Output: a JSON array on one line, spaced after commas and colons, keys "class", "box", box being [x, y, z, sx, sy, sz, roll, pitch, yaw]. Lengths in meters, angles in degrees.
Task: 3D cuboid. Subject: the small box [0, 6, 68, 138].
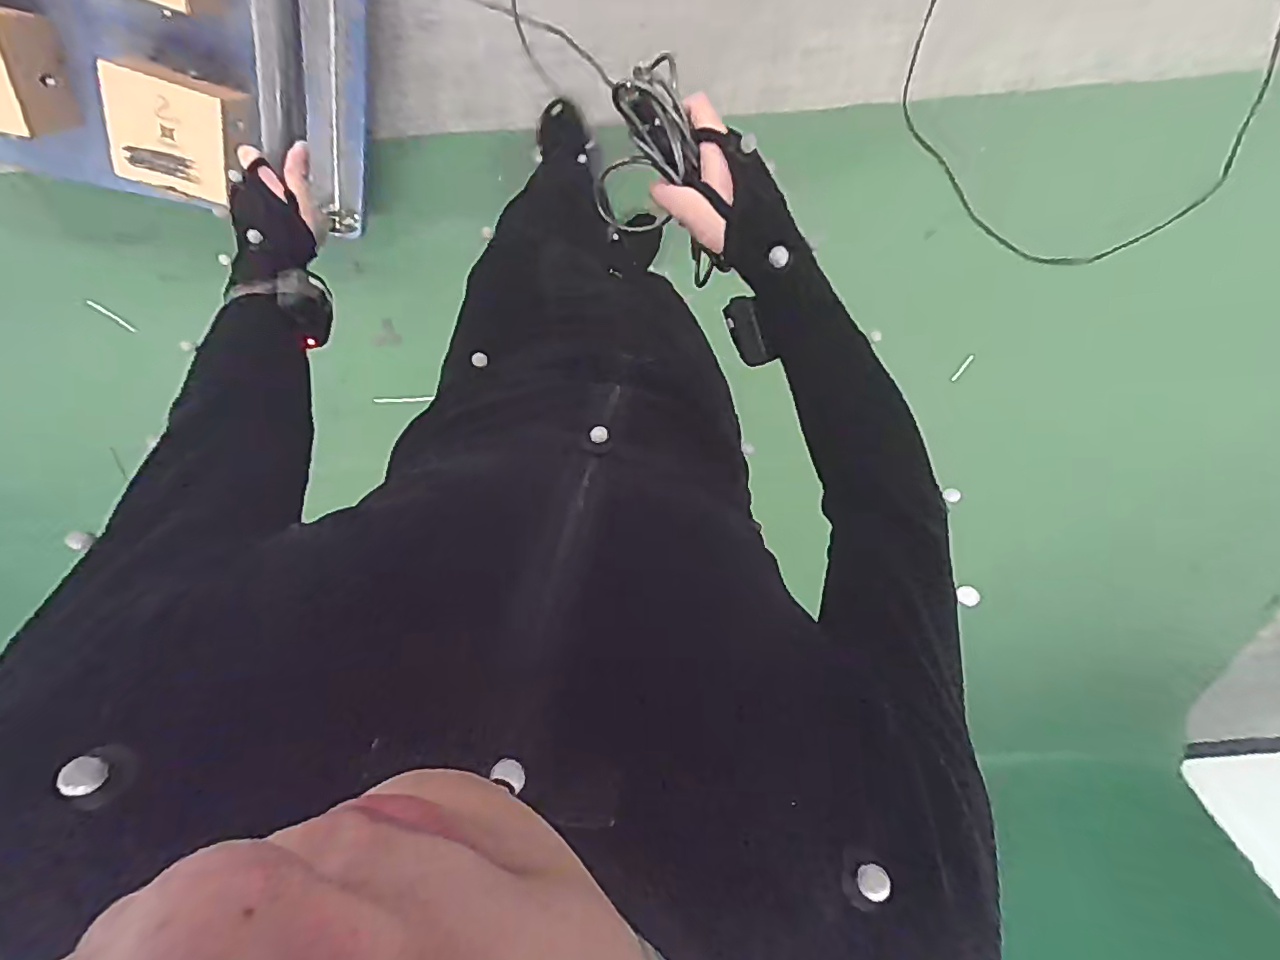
[{"class": "small box", "box": [-1.090, -0.675, 0.873, 0.179, 0.176, 0.168, 2, 126, -18]}]

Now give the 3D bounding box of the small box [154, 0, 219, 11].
[{"class": "small box", "box": [-0.787, -0.852, 0.827, 0.179, 0.176, 0.168, 6, 126, -22]}]
